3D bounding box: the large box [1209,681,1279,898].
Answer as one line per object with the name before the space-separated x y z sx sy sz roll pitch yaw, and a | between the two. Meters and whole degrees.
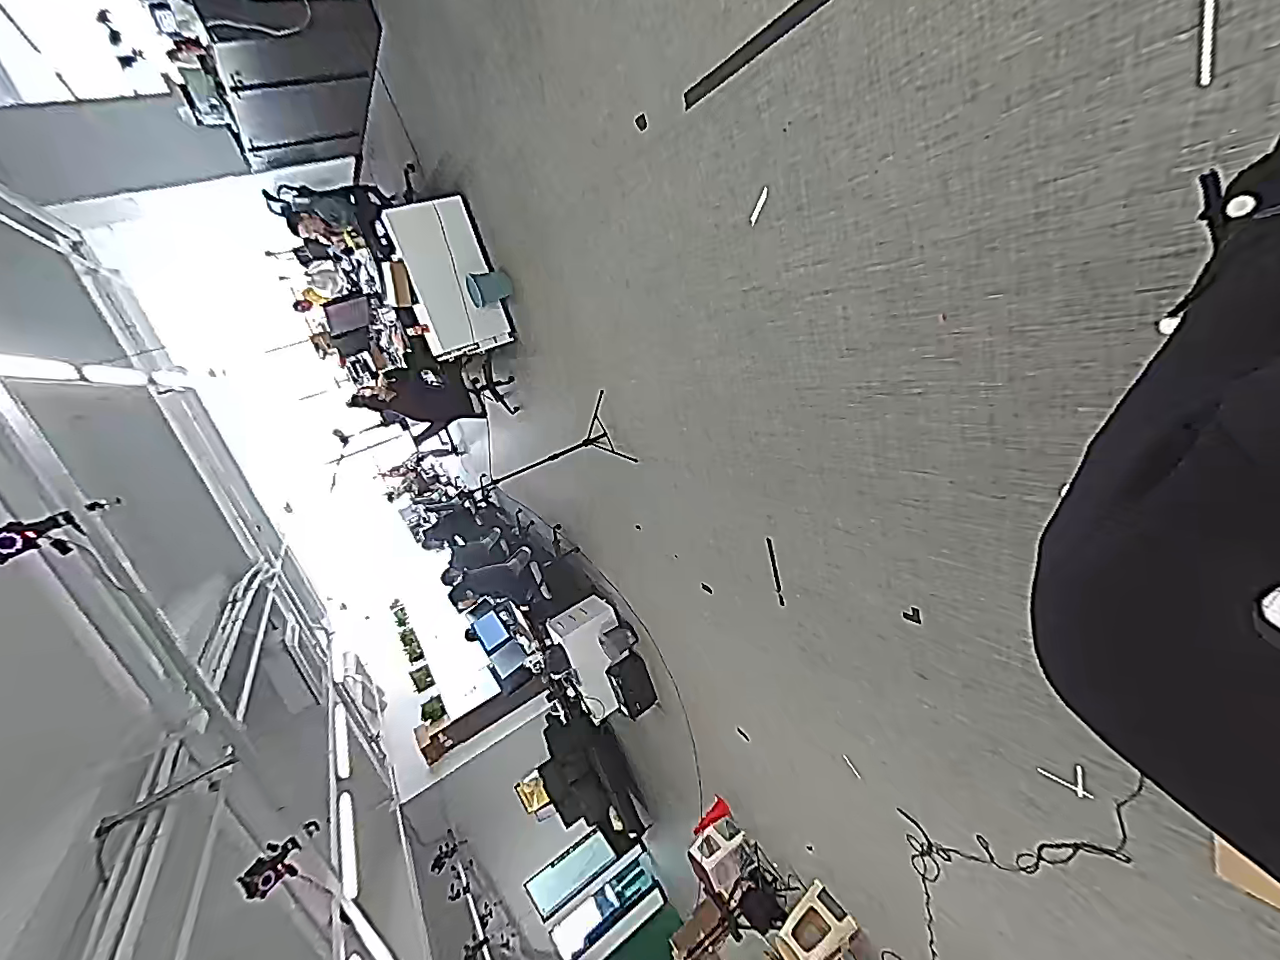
large box | 1.429 0.664 1.041 0.408 0.320 0.320 11 125 59
